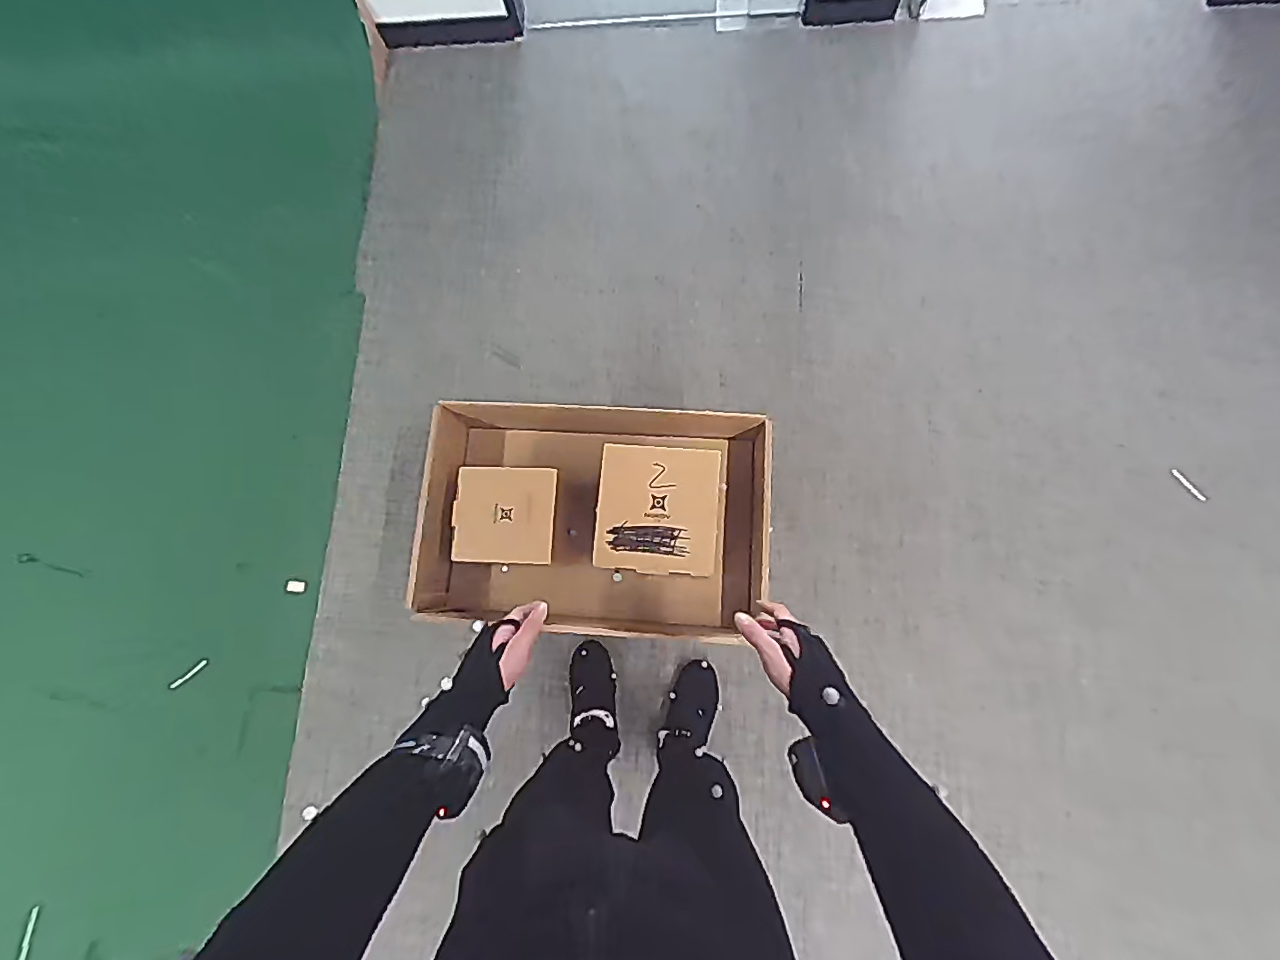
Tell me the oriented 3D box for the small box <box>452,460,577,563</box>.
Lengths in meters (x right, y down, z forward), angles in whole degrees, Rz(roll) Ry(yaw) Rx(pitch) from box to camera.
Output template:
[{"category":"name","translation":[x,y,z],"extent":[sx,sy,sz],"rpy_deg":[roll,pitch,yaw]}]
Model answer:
[{"category":"small box","translation":[-0.223,0.064,1.000],"extent":[0.179,0.176,0.168],"rpy_deg":[2,80,4]}]
